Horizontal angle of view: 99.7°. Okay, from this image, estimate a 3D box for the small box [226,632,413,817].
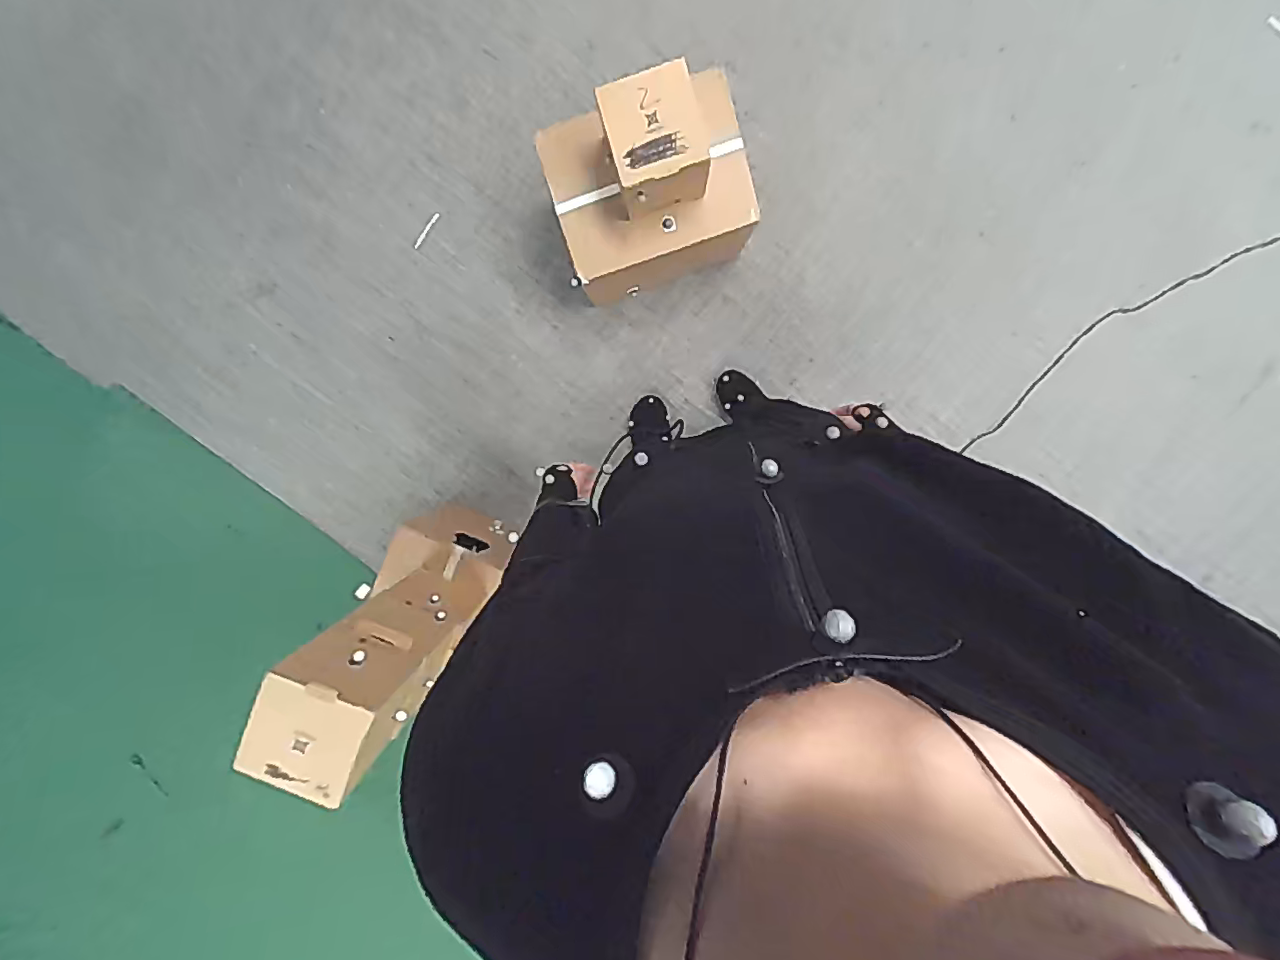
[{"bbox_3d":[-0.485,0.368,0.849,0.168,0.176,0.179,25,97,-1],"label":"small box"}]

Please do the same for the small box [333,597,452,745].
[{"bbox_3d":[-0.476,0.344,1.012,0.168,0.176,0.179,24,98,-2],"label":"small box"}]

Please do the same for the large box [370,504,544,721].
[{"bbox_3d":[-0.488,0.324,1.421,0.320,0.320,0.408,24,100,0],"label":"large box"}]

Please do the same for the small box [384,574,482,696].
[{"bbox_3d":[-0.468,0.326,1.174,0.179,0.176,0.168,25,98,-1],"label":"small box"}]
